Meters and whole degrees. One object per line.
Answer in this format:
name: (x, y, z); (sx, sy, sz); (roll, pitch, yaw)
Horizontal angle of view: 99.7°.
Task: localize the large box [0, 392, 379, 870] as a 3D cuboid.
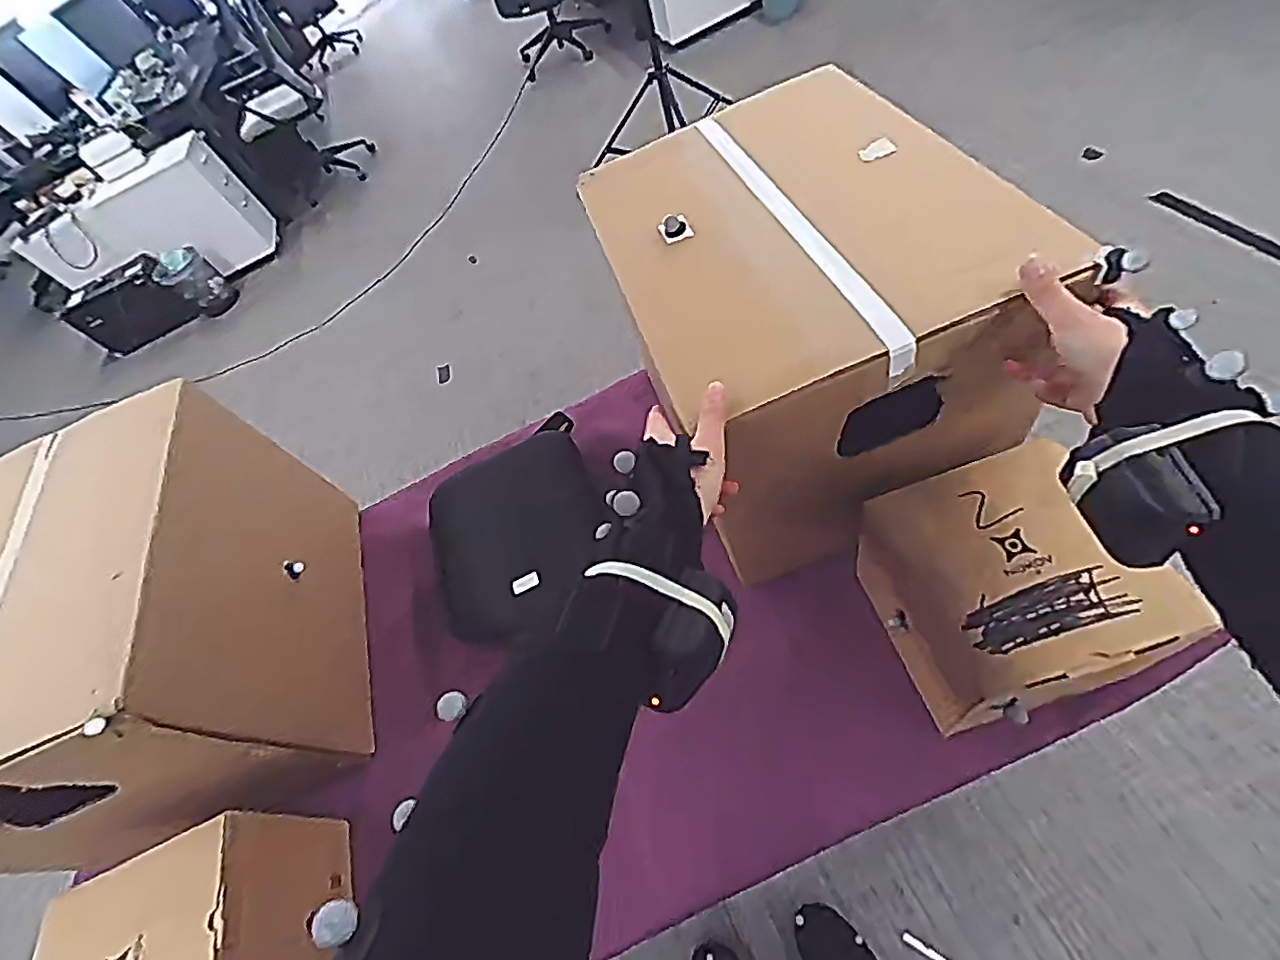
large box: (-0.563, 0.178, 0.654); (0.320, 0.320, 0.408); (-26, 57, 0)
